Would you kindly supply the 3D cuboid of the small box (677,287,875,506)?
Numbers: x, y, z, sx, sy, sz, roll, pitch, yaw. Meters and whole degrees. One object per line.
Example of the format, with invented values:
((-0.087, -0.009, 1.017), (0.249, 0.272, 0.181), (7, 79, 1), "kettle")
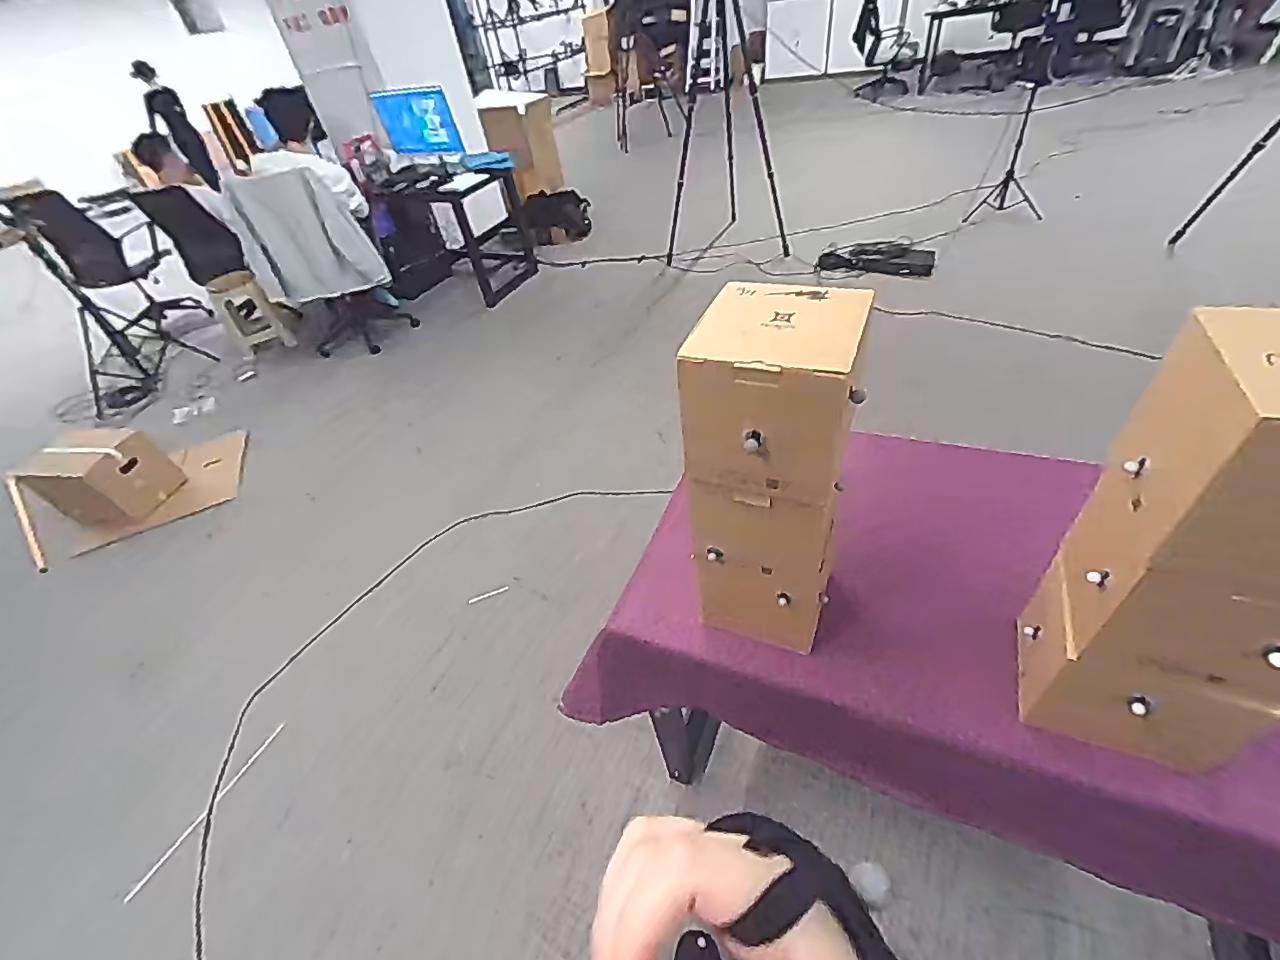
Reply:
((0.155, -0.096, 0.612), (0.168, 0.176, 0.179), (13, 48, 22), "small box")

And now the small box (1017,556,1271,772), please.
((0.587, 0.225, 0.665), (0.179, 0.176, 0.168), (13, 48, 24), "small box")

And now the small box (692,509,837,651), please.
((0.192, 0.138, 0.839), (0.179, 0.176, 0.168), (13, 47, 22), "small box")

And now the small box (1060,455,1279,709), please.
((0.569, 0.103, 0.559), (0.168, 0.176, 0.179), (12, 46, 22), "small box")

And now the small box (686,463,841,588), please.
((0.173, 0.018, 0.730), (0.168, 0.176, 0.179), (12, 46, 22), "small box")
